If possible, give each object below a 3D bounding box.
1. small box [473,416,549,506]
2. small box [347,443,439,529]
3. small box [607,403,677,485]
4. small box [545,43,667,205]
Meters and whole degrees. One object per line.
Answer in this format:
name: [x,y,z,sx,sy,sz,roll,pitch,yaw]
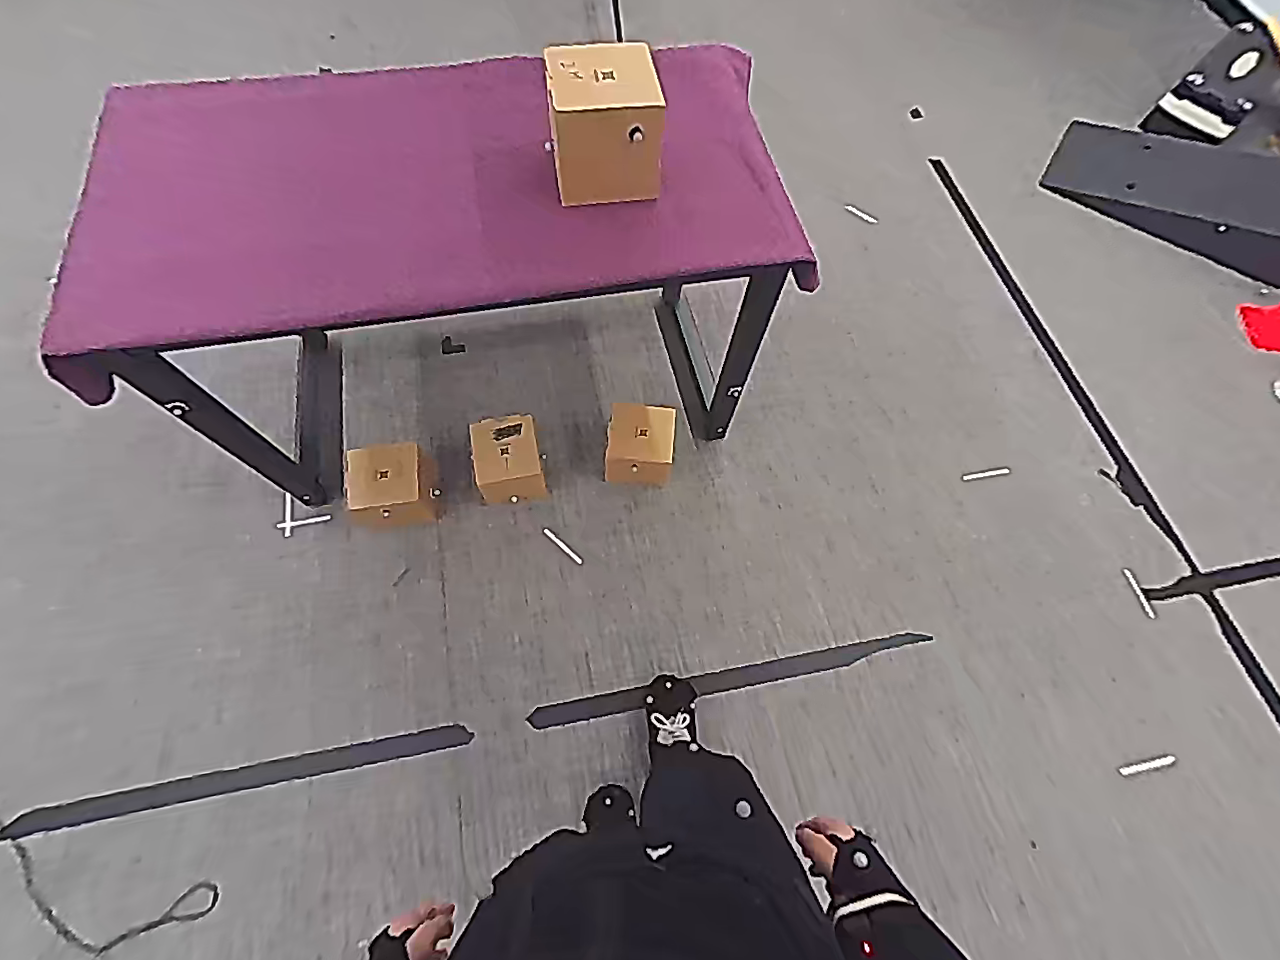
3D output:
small box: [-0.347,-0.048,1.467,0.168,0.176,0.179,-11,69,-7]
small box: [-0.642,0.021,1.425,0.179,0.176,0.168,-7,68,-7]
small box: [0.004,-0.094,1.505,0.179,0.176,0.168,5,67,1]
small box: [-0.060,-0.600,0.923,0.179,0.176,0.168,-8,67,-6]
